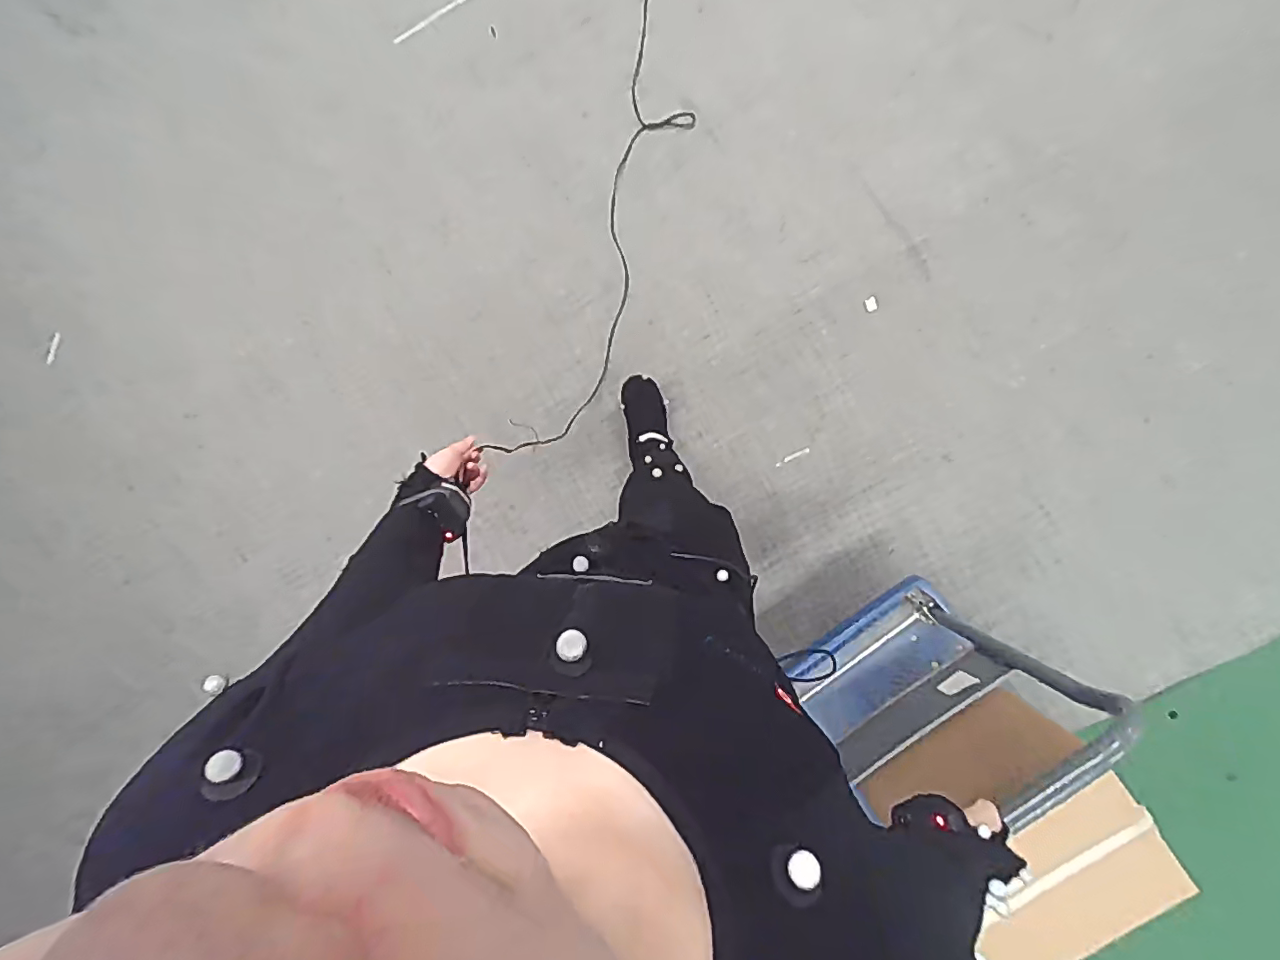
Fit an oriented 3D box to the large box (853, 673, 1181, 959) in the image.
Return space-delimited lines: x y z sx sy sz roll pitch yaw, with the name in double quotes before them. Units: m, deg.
"large box" 0.746 0.692 1.140 0.408 0.320 0.320 -36 88 5
